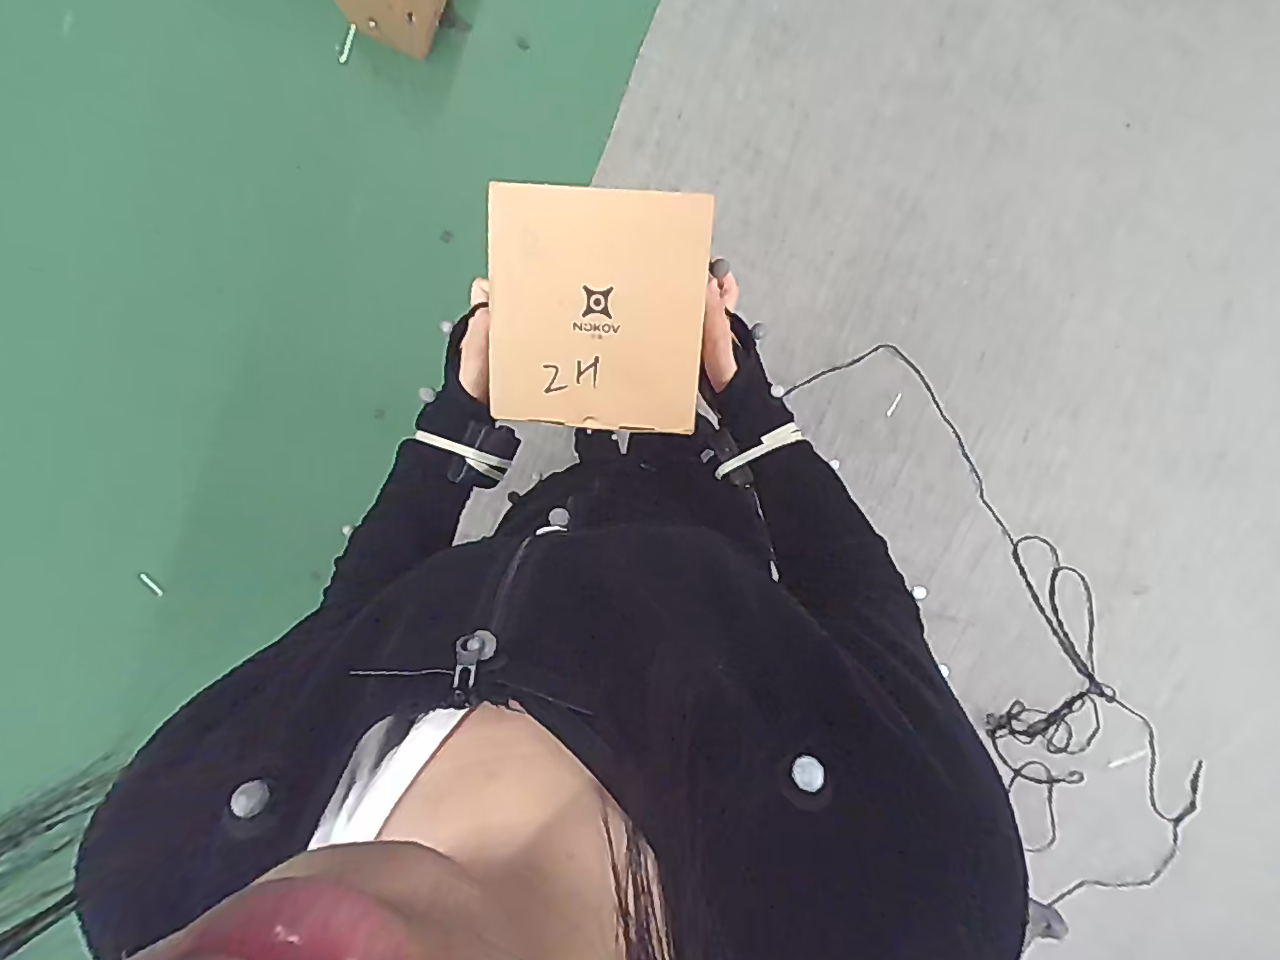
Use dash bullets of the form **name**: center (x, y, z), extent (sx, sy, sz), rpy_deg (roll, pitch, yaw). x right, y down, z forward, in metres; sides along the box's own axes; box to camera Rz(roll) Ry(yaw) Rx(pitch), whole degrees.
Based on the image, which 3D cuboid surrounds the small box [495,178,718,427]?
- **small box**: center (-0.024, -0.152, 0.492), extent (0.168, 0.176, 0.179), rpy_deg (5, 105, 4)

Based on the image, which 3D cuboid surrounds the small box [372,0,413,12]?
- **small box**: center (-0.550, -1.095, 1.074), extent (0.179, 0.176, 0.168), rpy_deg (23, 98, -4)
